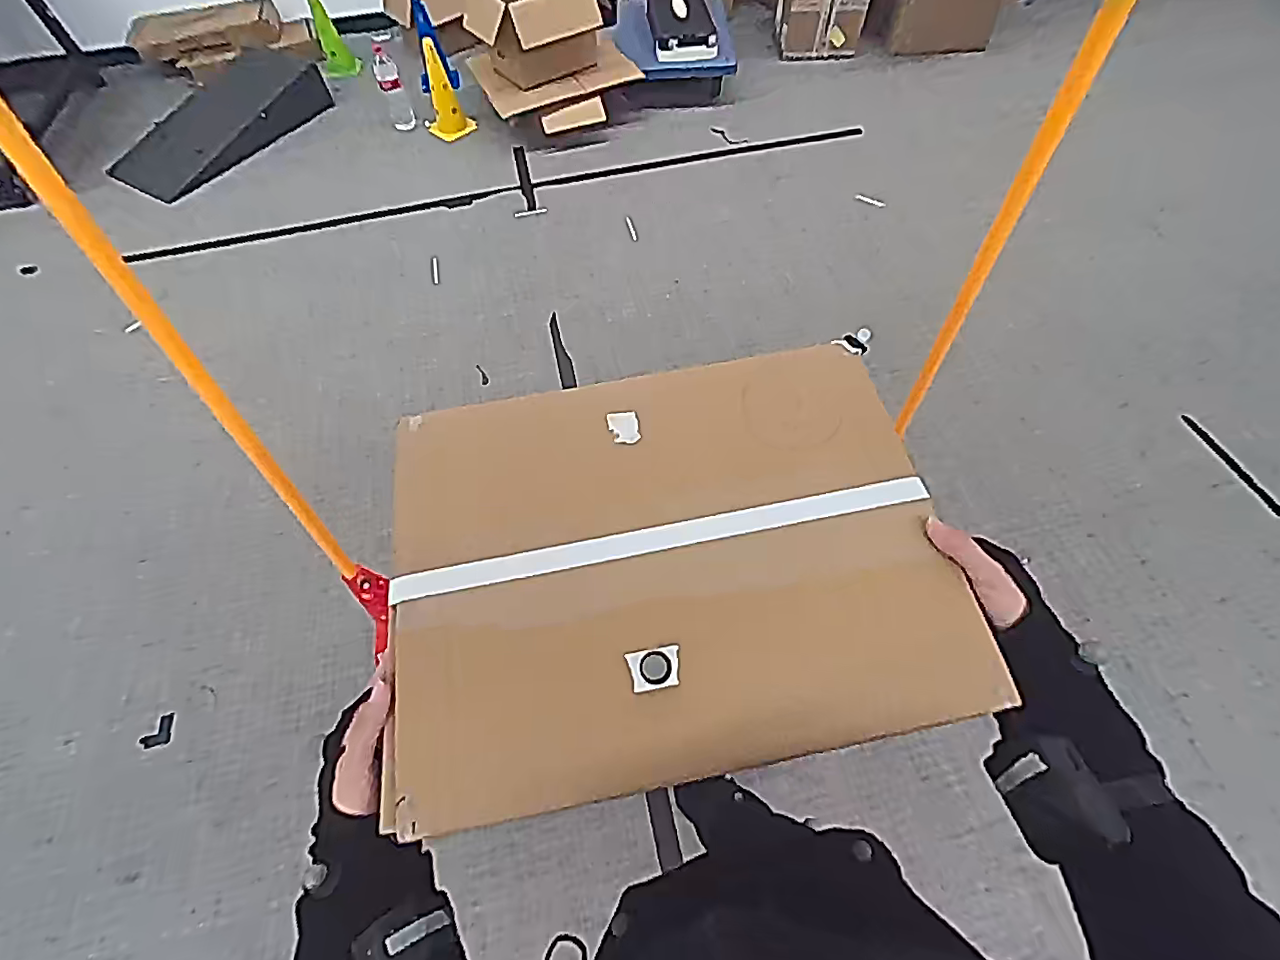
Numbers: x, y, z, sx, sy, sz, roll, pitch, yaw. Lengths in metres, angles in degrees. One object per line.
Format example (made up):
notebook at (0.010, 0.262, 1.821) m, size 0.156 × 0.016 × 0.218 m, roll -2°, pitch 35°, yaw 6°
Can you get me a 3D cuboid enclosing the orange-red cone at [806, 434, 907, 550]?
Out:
orange-red cone at (0.588, 0.000, 1.370) m, size 0.199 × 0.360 × 0.198 m, roll -20°, pitch 61°, yaw -11°
